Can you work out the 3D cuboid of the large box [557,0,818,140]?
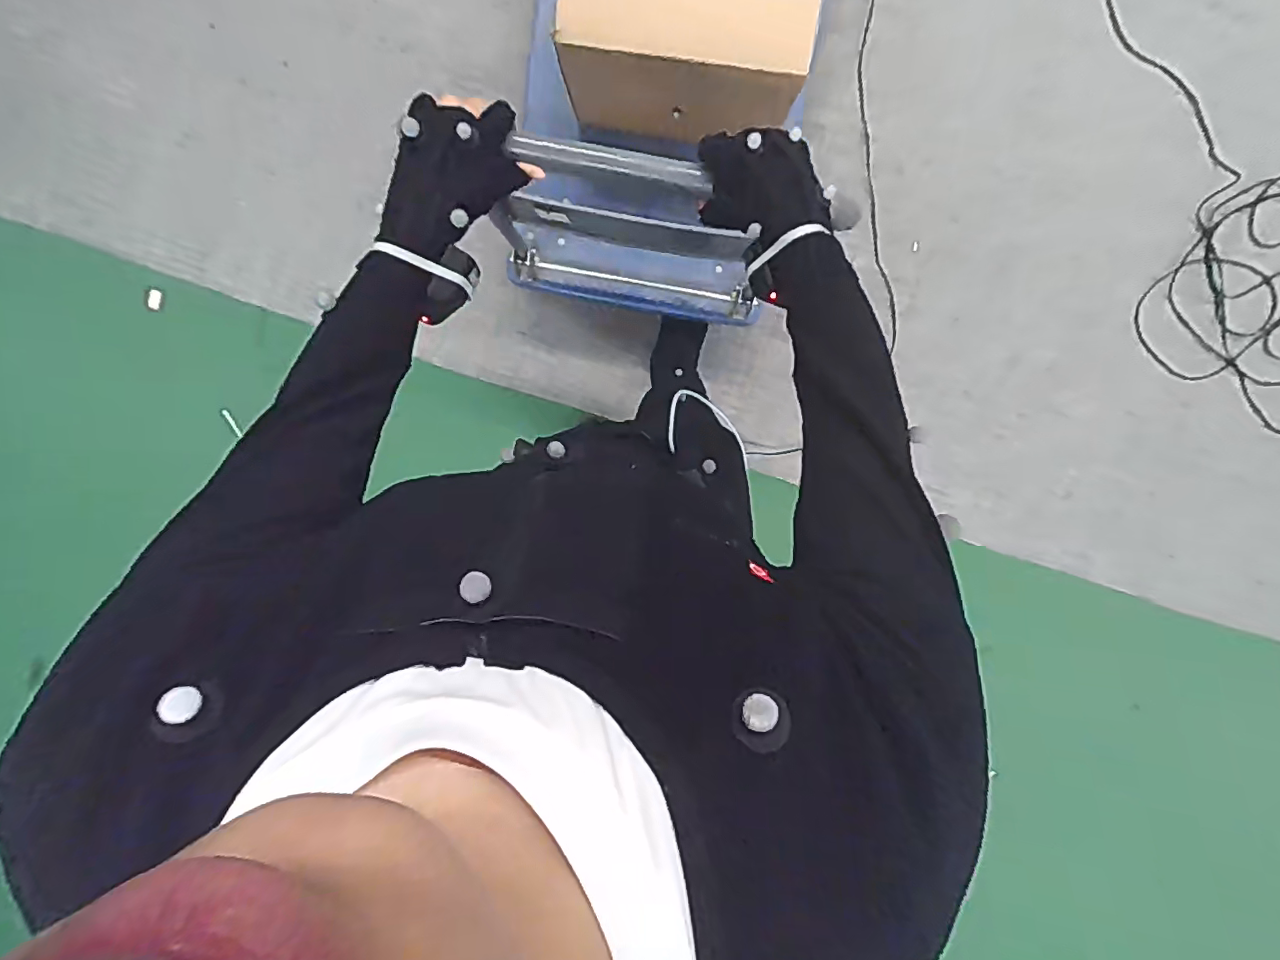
[{"bbox_3d":[0.087,-0.843,0.958,0.408,0.320,0.320,7,102,0],"label":"large box"}]
